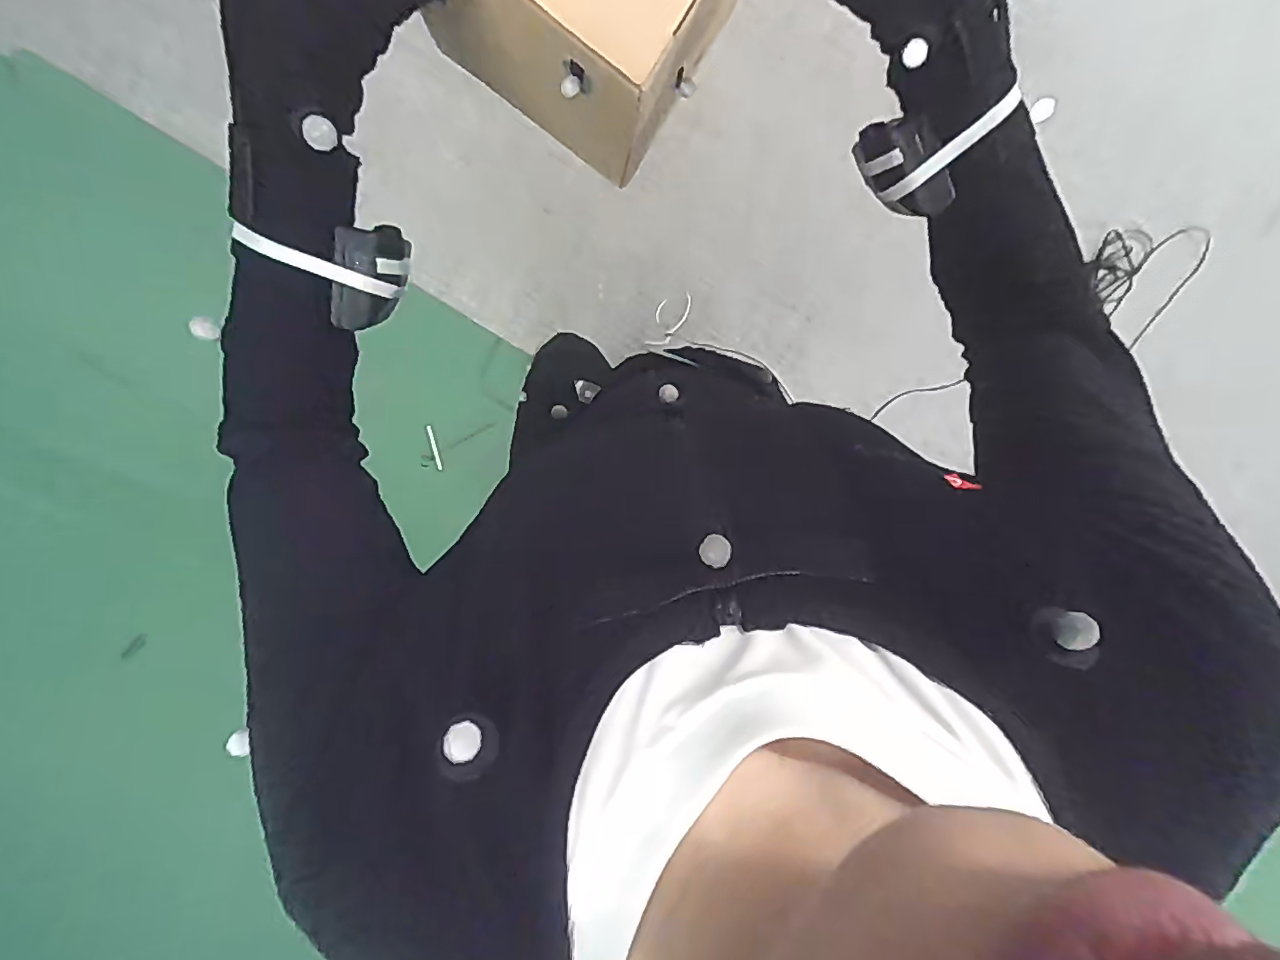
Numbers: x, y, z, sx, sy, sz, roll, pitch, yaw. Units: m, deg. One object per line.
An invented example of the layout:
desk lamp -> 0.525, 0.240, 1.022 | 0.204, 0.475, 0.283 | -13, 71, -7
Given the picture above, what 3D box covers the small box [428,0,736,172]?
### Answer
small box -> -0.033, -0.343, 0.353 | 0.179, 0.176, 0.168 | 33, 97, -12
